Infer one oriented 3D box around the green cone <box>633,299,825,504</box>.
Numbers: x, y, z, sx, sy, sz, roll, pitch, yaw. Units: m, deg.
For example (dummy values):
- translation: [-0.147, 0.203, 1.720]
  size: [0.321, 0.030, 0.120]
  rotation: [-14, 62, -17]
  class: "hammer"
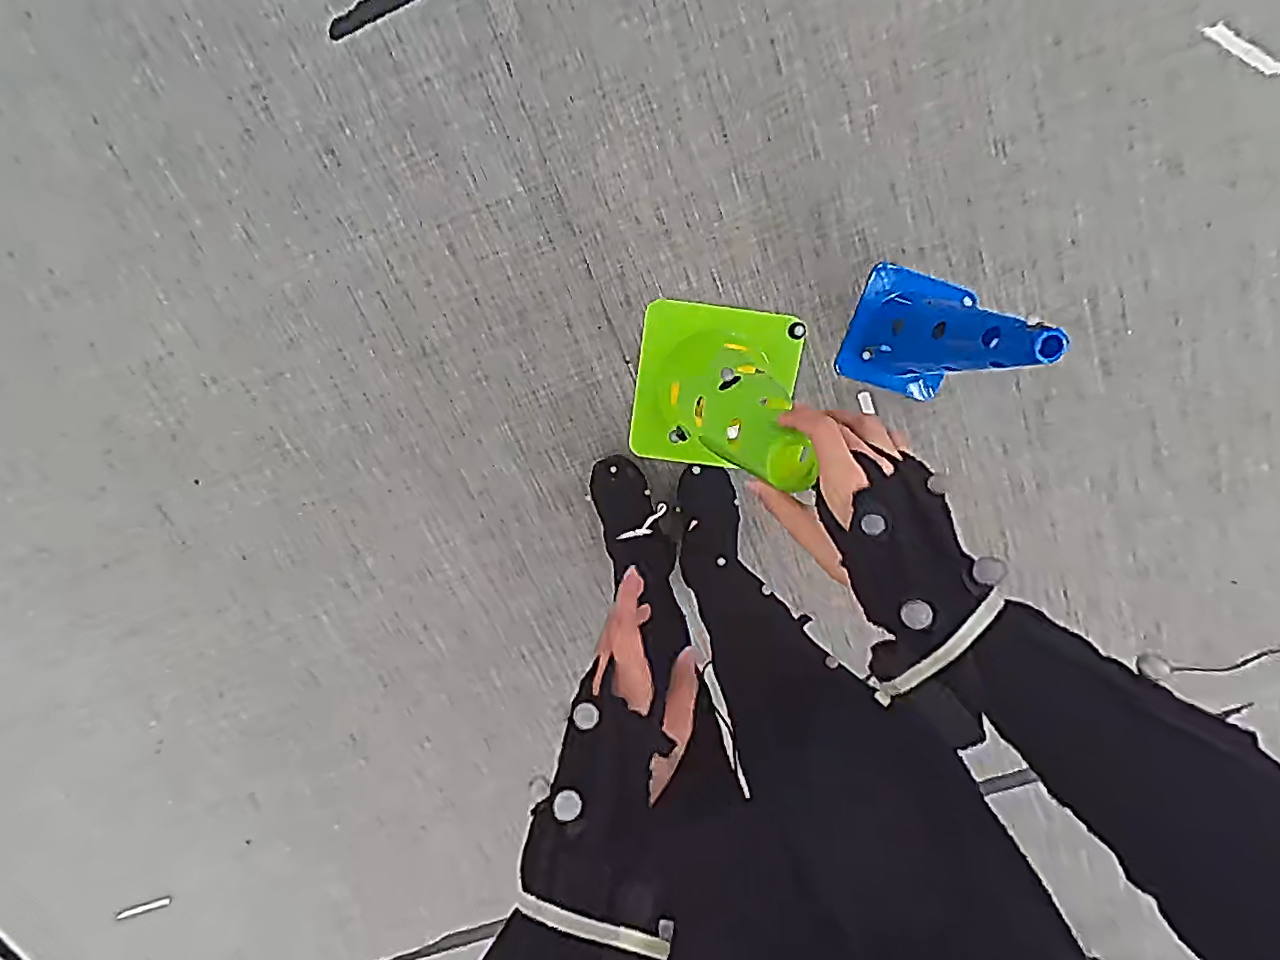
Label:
- translation: [0.098, -0.063, 0.523]
  size: [0.200, 0.368, 0.202]
  rotation: [6, 108, -2]
  class: "green cone"
